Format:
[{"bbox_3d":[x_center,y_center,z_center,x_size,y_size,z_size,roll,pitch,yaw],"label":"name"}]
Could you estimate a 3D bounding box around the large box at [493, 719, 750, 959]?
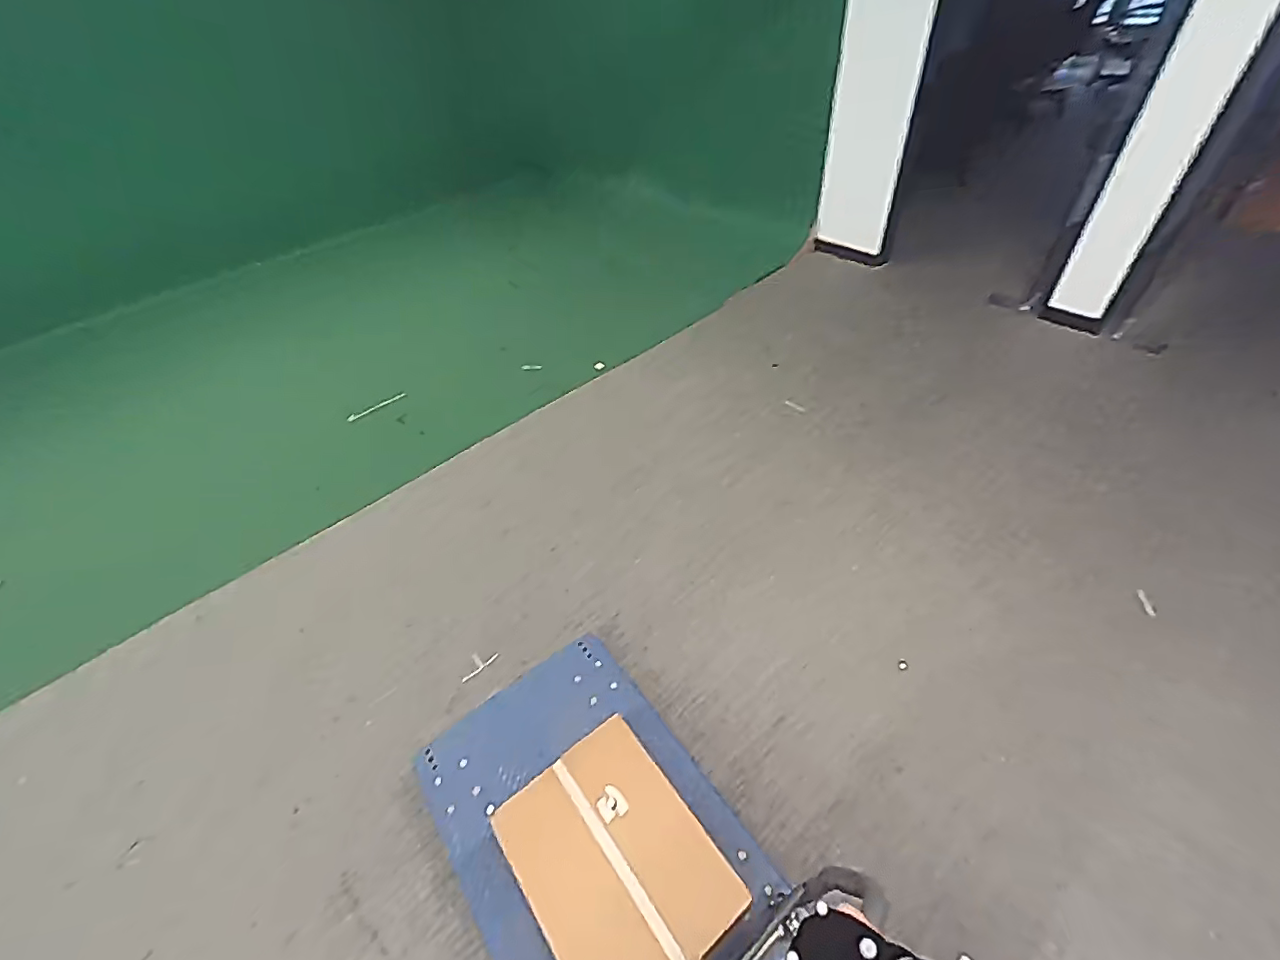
[{"bbox_3d":[-0.030,0.791,1.094,0.320,0.320,0.408,-31,49,-22],"label":"large box"}]
